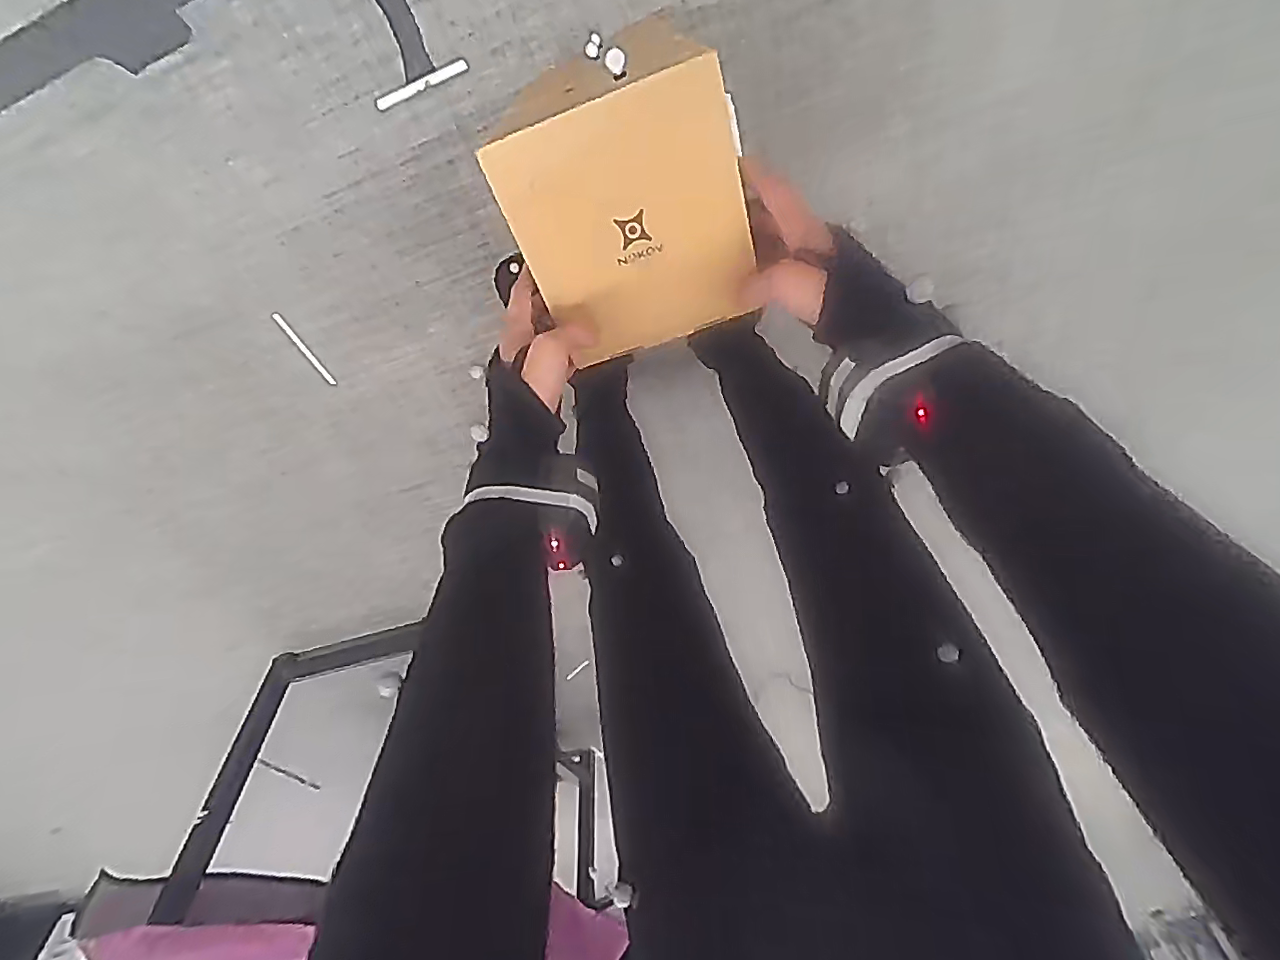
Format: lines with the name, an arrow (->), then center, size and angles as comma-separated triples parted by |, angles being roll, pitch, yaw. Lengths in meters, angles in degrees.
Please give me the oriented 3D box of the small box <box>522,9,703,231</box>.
small box -> -0.032, -0.457, 0.686 | 0.168, 0.176, 0.179 | -18, 134, 12
